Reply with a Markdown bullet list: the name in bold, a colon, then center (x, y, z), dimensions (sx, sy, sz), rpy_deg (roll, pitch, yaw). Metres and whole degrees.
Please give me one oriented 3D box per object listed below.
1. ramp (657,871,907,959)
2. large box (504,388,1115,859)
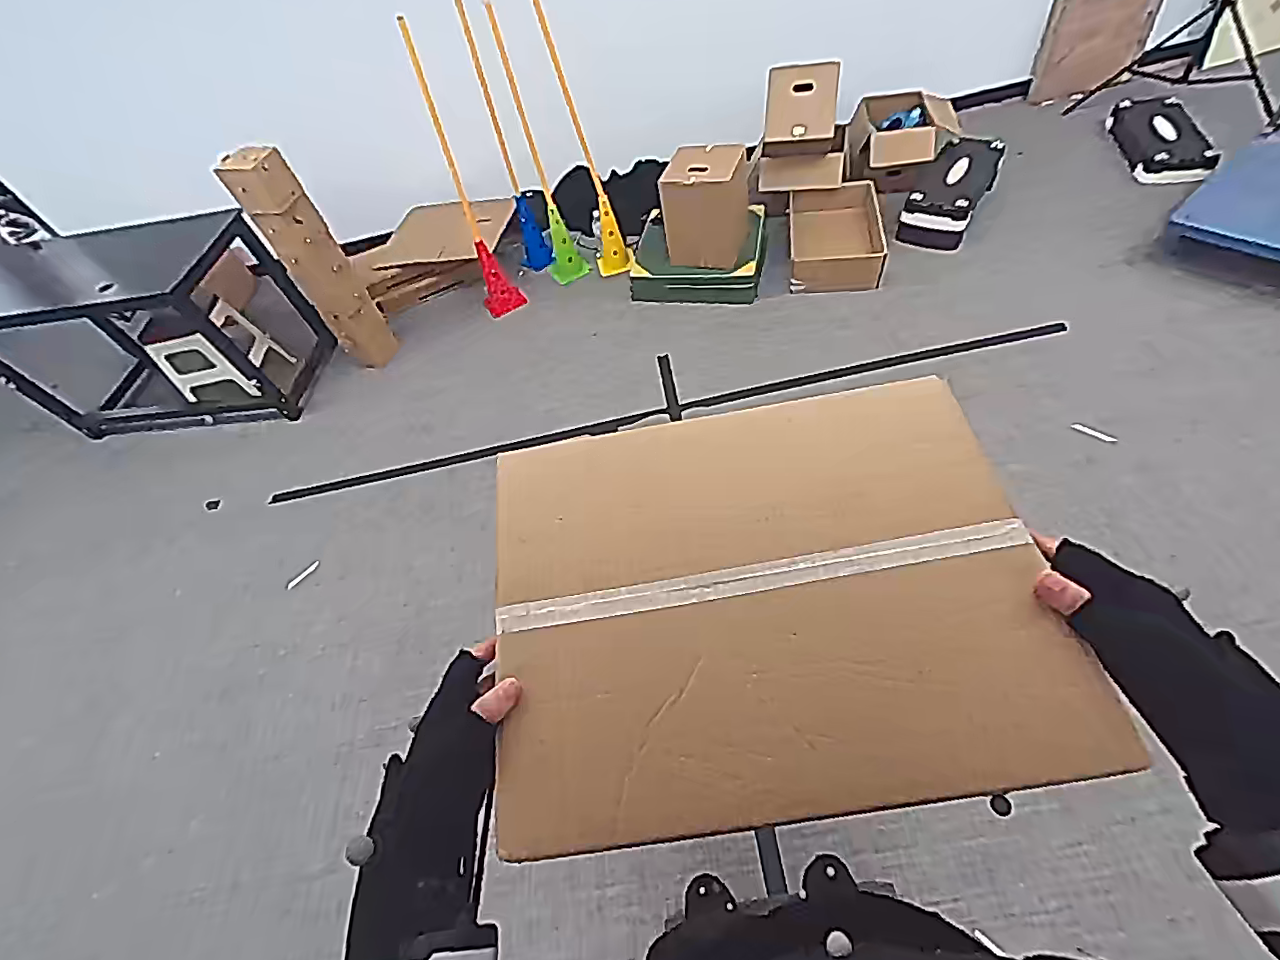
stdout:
- **ramp**: center (0.351, 1.314, 0.940), dimensions (0.509, 0.206, 0.991), rpy_deg (-12, 54, 1)
- **large box**: center (0.108, 0.152, 0.550), dimensions (0.408, 0.320, 0.320), rpy_deg (-10, 59, 2)
